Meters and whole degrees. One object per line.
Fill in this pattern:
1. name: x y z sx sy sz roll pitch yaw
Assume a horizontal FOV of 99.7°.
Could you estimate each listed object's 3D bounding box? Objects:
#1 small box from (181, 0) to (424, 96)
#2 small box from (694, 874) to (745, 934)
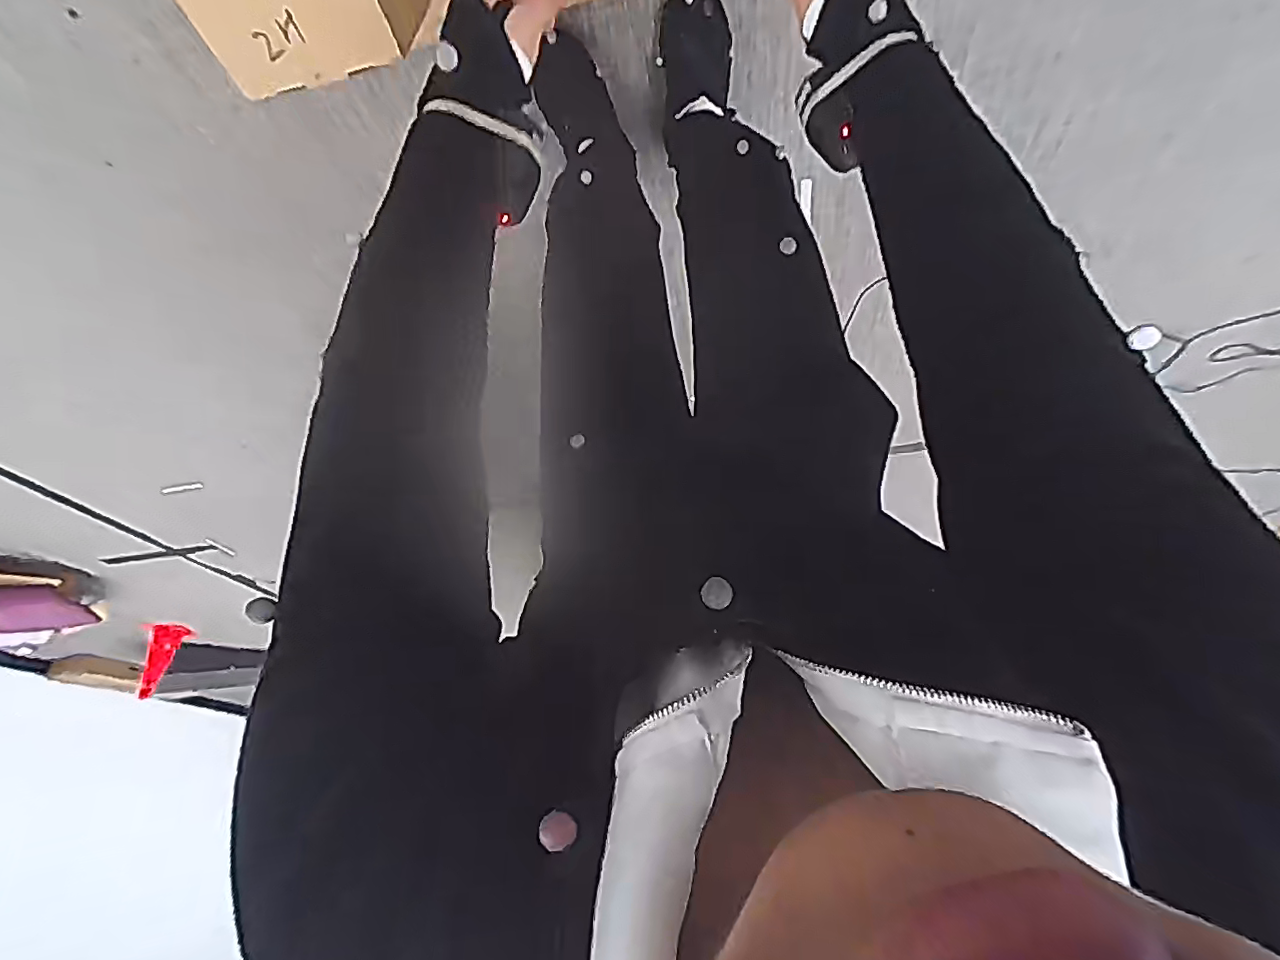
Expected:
1. small box: -0.322 -0.498 0.491 0.168 0.176 0.179 -9 146 7
2. small box: 0.316 1.681 2.152 0.168 0.176 0.179 -12 148 15
